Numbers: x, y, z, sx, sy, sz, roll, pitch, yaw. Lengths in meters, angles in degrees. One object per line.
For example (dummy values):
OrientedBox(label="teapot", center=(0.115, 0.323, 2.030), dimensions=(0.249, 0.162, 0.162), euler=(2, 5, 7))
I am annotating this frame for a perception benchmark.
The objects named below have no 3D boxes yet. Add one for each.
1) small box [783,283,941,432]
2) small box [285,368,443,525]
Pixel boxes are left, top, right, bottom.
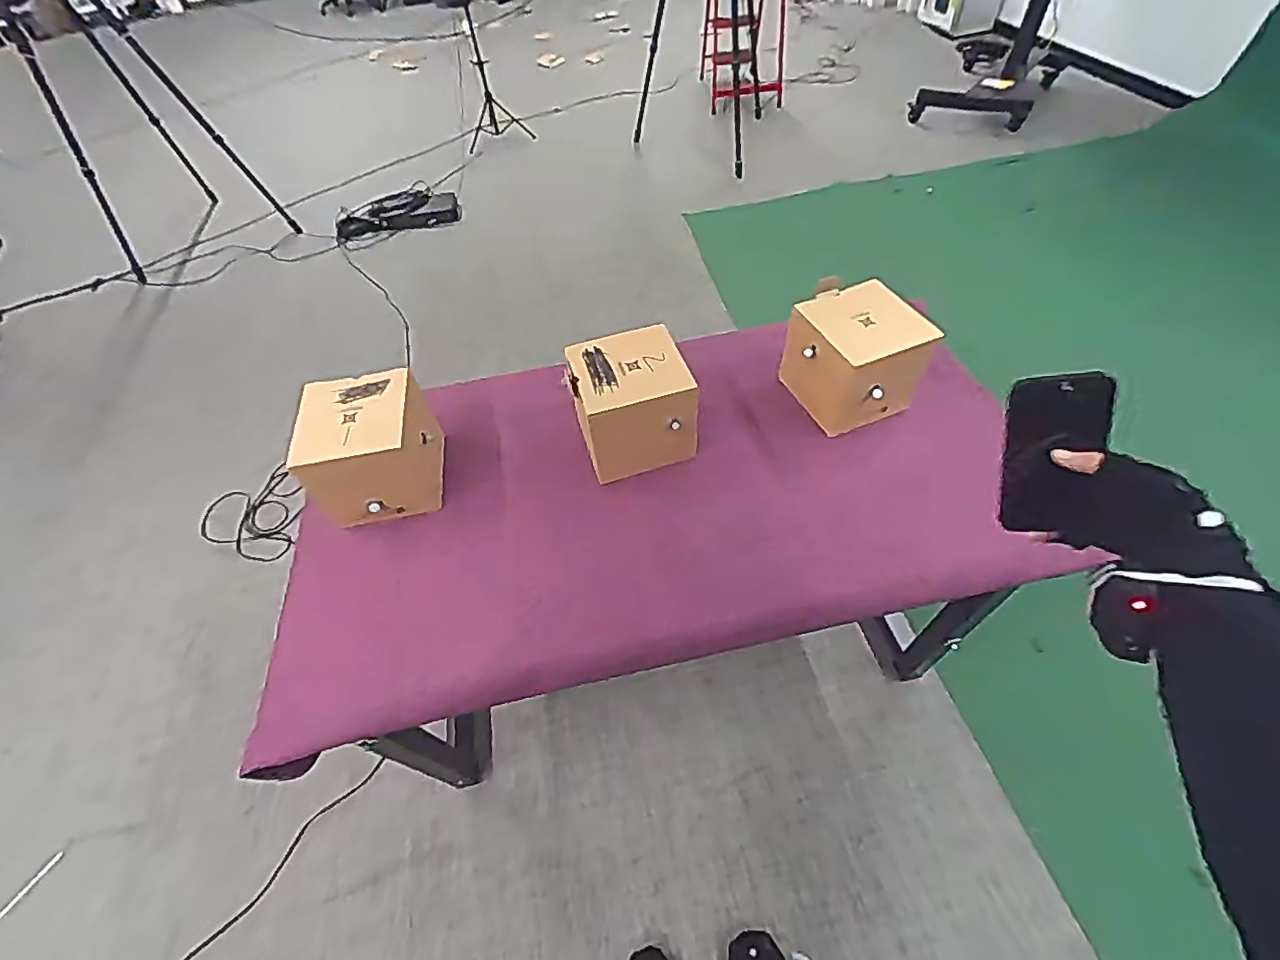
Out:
OrientedBox(label="small box", center=(0.368, -0.203, 0.934), dimensions=(0.168, 0.176, 0.179), euler=(-20, 53, -10))
OrientedBox(label="small box", center=(-0.430, -0.051, 0.878), dimensions=(0.168, 0.176, 0.179), euler=(-10, 55, -4))
